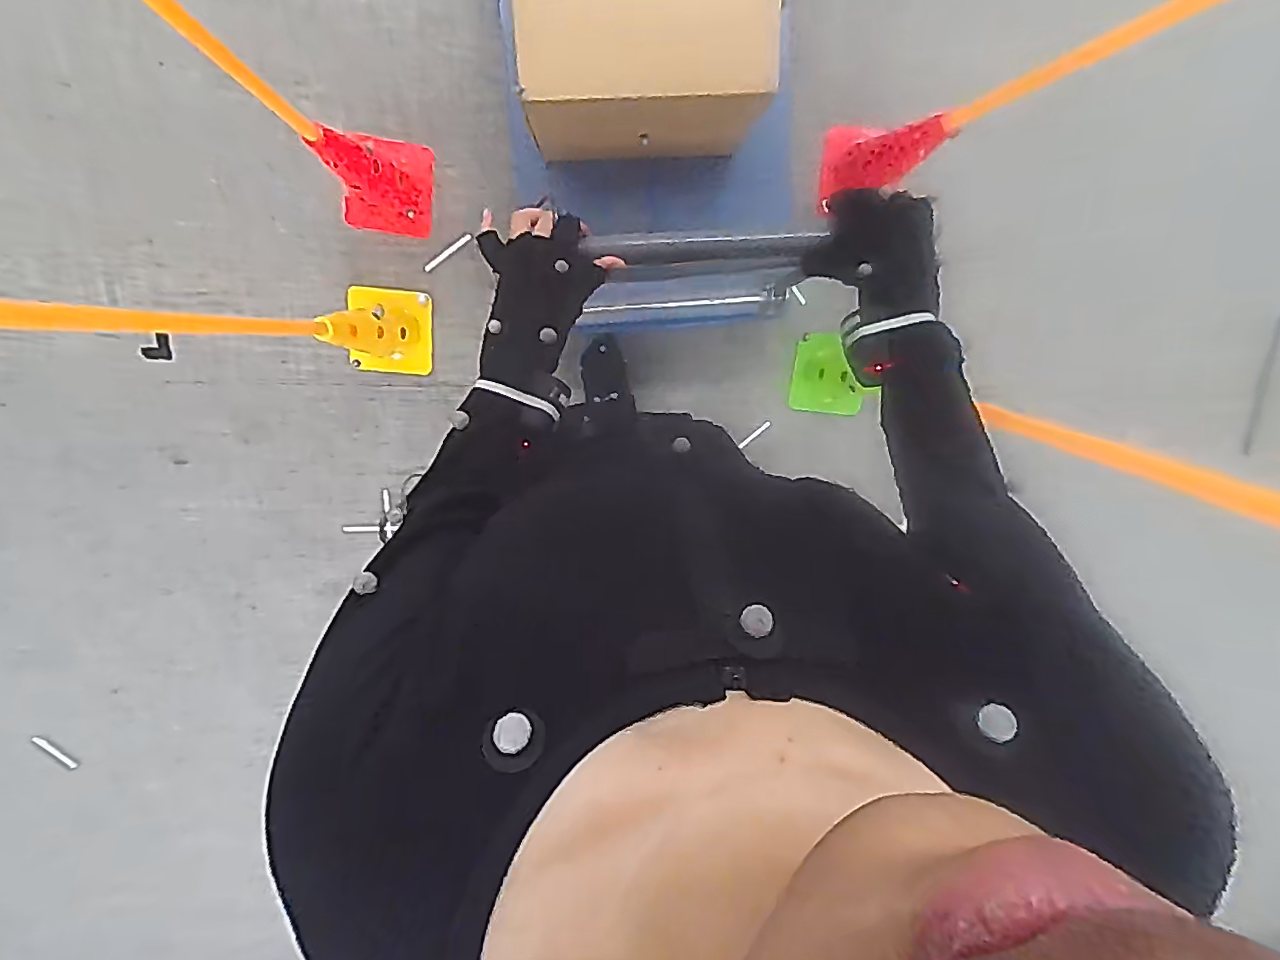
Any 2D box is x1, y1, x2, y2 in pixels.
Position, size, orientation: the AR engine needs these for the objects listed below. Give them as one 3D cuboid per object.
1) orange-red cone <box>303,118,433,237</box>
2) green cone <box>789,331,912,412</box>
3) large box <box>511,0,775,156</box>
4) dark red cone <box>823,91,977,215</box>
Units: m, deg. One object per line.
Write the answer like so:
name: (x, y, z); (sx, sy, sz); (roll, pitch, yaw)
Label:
orange-red cone: (-0.576, -0.647, 1.096); (0.198, 0.360, 0.199); (8, 103, -7)
green cone: (0.517, -0.243, 1.274); (0.202, 0.368, 0.200); (4, 104, -6)
large box: (-0.001, -0.788, 0.946); (0.408, 0.320, 0.320); (-3, 105, -2)
dark red cone: (0.556, -0.707, 1.137); (0.201, 0.394, 0.202); (1, 105, -6)
